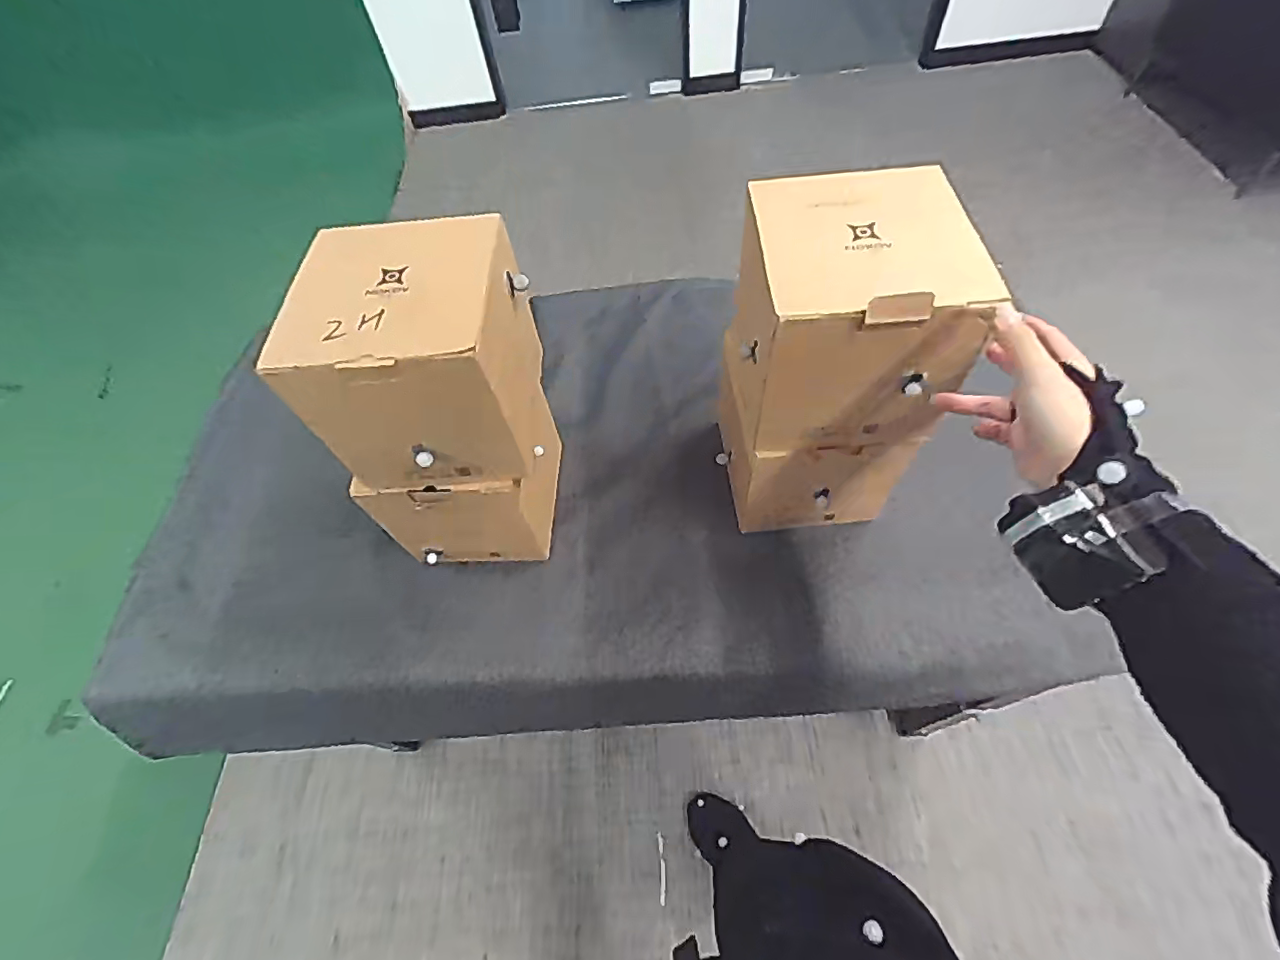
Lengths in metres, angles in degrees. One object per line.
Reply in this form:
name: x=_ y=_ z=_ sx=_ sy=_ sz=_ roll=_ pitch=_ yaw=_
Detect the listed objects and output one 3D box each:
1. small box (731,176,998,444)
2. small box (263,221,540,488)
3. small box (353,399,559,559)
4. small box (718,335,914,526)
small box: x=0.178 y=-0.144 z=0.496 sx=0.168 sy=0.176 sz=0.179 roll=-3 pitch=57 yaw=3
small box: x=-0.195 y=-0.111 z=0.508 sx=0.168 sy=0.176 sz=0.179 roll=-4 pitch=57 yaw=3
small box: x=-0.198 y=-0.015 z=0.643 sx=0.168 sy=0.176 sz=0.179 roll=-1 pitch=56 yaw=4
small box: x=0.186 y=-0.056 z=0.633 sx=0.168 sy=0.176 sz=0.179 roll=-6 pitch=58 yaw=1
